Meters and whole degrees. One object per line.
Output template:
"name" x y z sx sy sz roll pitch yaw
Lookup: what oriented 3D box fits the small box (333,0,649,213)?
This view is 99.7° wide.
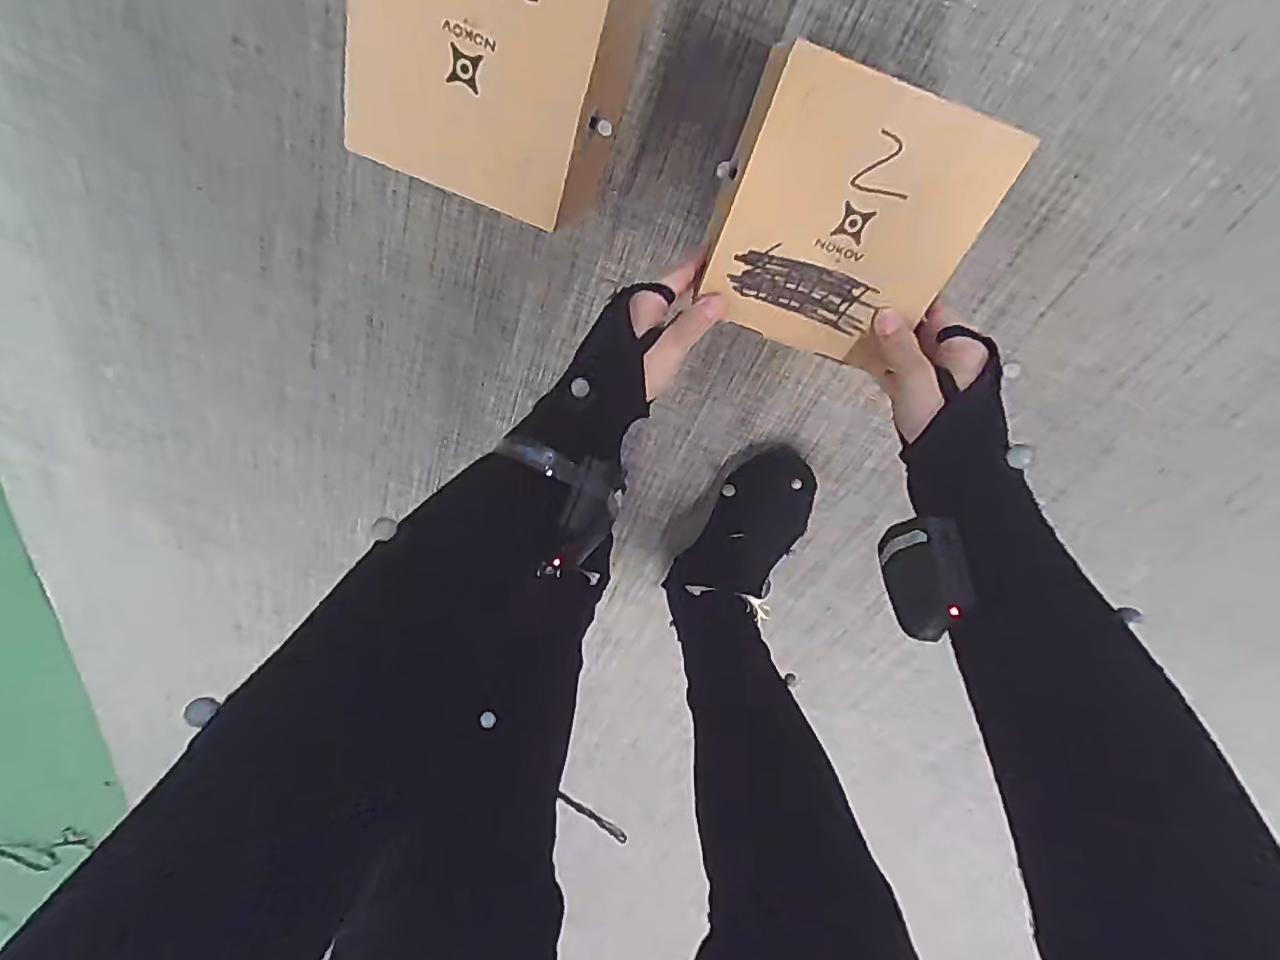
"small box" -0.100 -0.334 0.407 0.168 0.176 0.179 22 124 -6
